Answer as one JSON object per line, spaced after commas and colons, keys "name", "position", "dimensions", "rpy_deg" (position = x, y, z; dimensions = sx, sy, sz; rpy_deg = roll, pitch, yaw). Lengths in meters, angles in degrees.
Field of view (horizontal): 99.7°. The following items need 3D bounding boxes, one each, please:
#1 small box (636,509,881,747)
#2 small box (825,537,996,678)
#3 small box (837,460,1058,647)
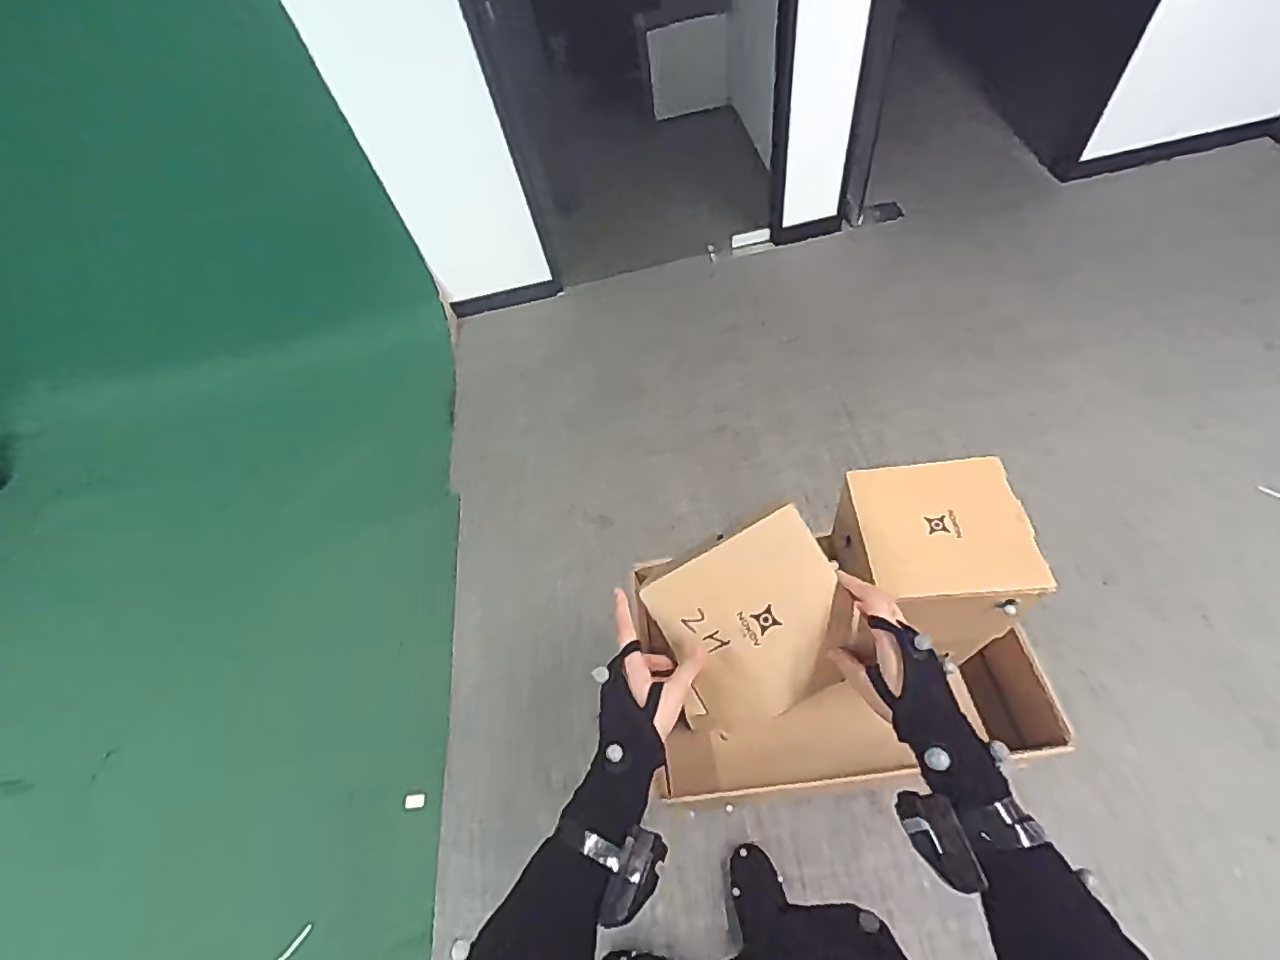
{"name": "small box", "position": [0.119, 0.141, 0.586], "dimensions": [0.179, 0.176, 0.168], "rpy_deg": [-33, 84, 8]}
{"name": "small box", "position": [0.371, 0.184, 0.790], "dimensions": [0.179, 0.176, 0.168], "rpy_deg": [-8, 57, 8]}
{"name": "small box", "position": [0.345, 0.097, 0.656], "dimensions": [0.179, 0.176, 0.168], "rpy_deg": [-6, 56, 8]}
